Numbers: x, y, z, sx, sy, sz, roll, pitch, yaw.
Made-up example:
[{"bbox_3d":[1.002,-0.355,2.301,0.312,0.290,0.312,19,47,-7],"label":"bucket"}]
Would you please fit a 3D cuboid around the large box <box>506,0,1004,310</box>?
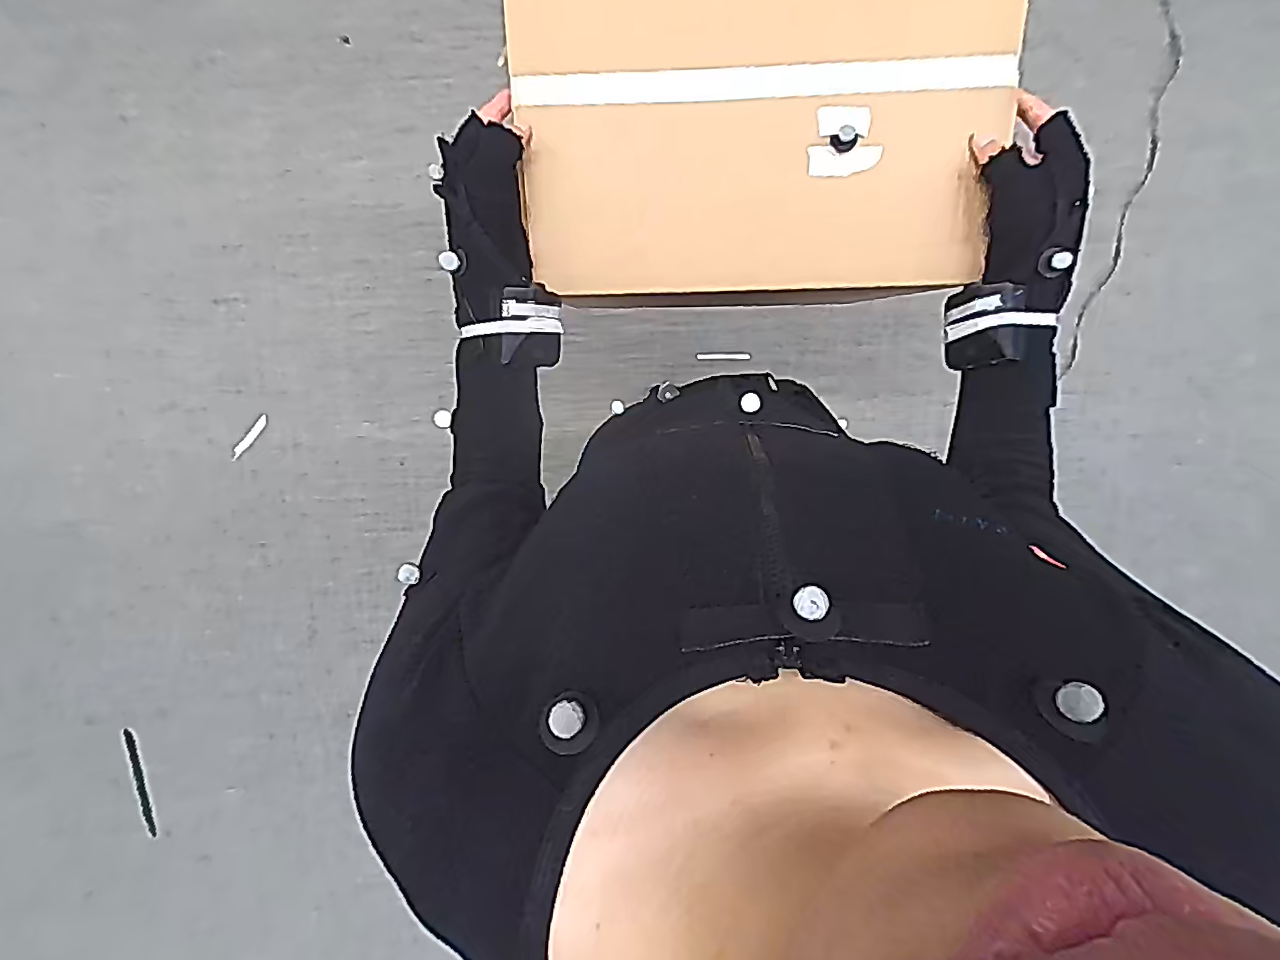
[{"bbox_3d":[0.093,-0.364,0.592,0.408,0.320,0.320,-1,105,1],"label":"large box"}]
